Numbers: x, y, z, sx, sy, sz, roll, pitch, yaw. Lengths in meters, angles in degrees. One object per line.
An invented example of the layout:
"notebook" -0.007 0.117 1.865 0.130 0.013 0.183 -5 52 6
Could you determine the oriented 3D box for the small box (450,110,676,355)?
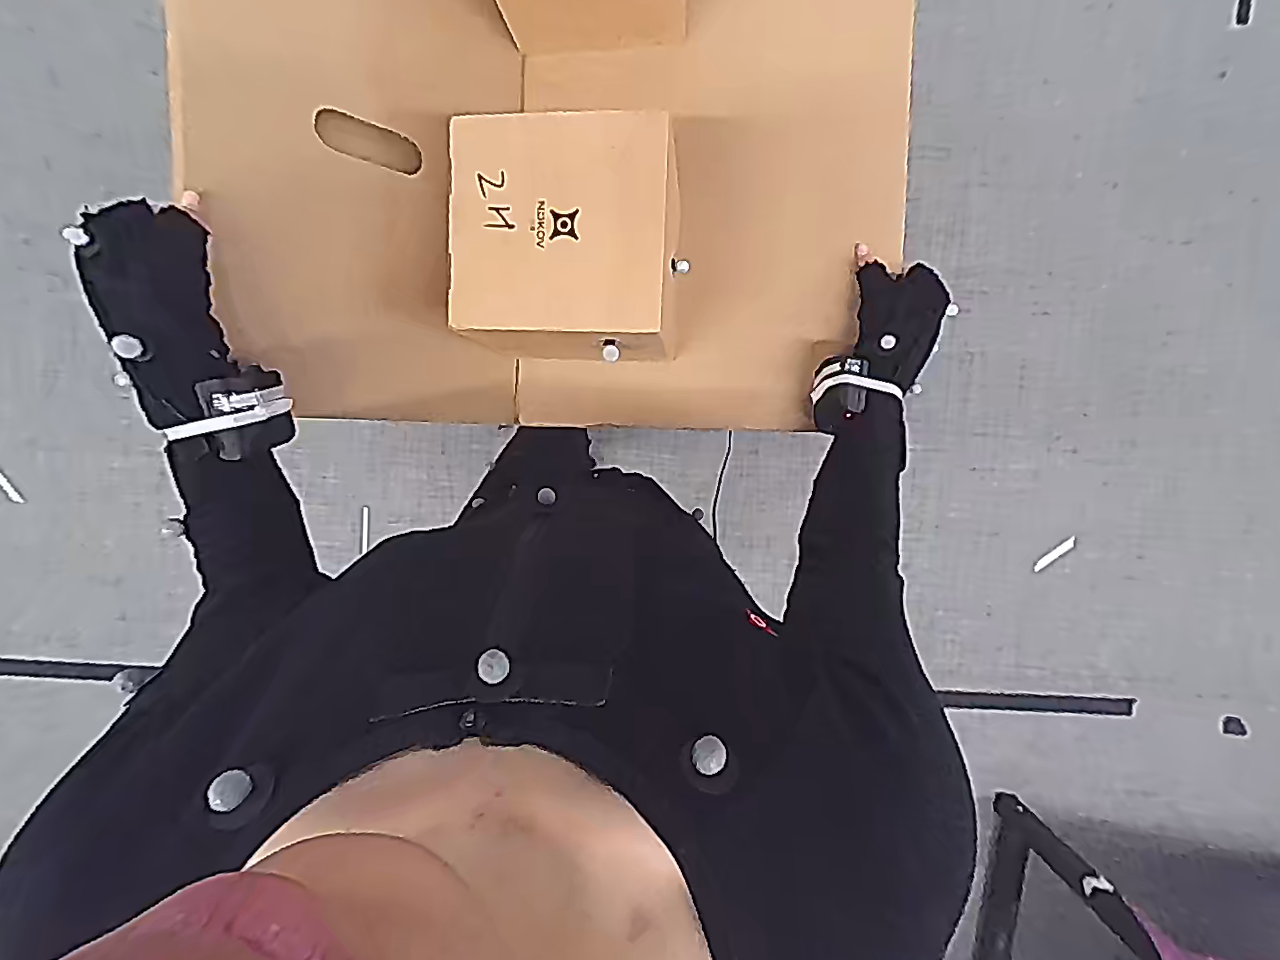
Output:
"small box" -0.059 -0.215 0.511 0.179 0.176 0.168 3 95 7
